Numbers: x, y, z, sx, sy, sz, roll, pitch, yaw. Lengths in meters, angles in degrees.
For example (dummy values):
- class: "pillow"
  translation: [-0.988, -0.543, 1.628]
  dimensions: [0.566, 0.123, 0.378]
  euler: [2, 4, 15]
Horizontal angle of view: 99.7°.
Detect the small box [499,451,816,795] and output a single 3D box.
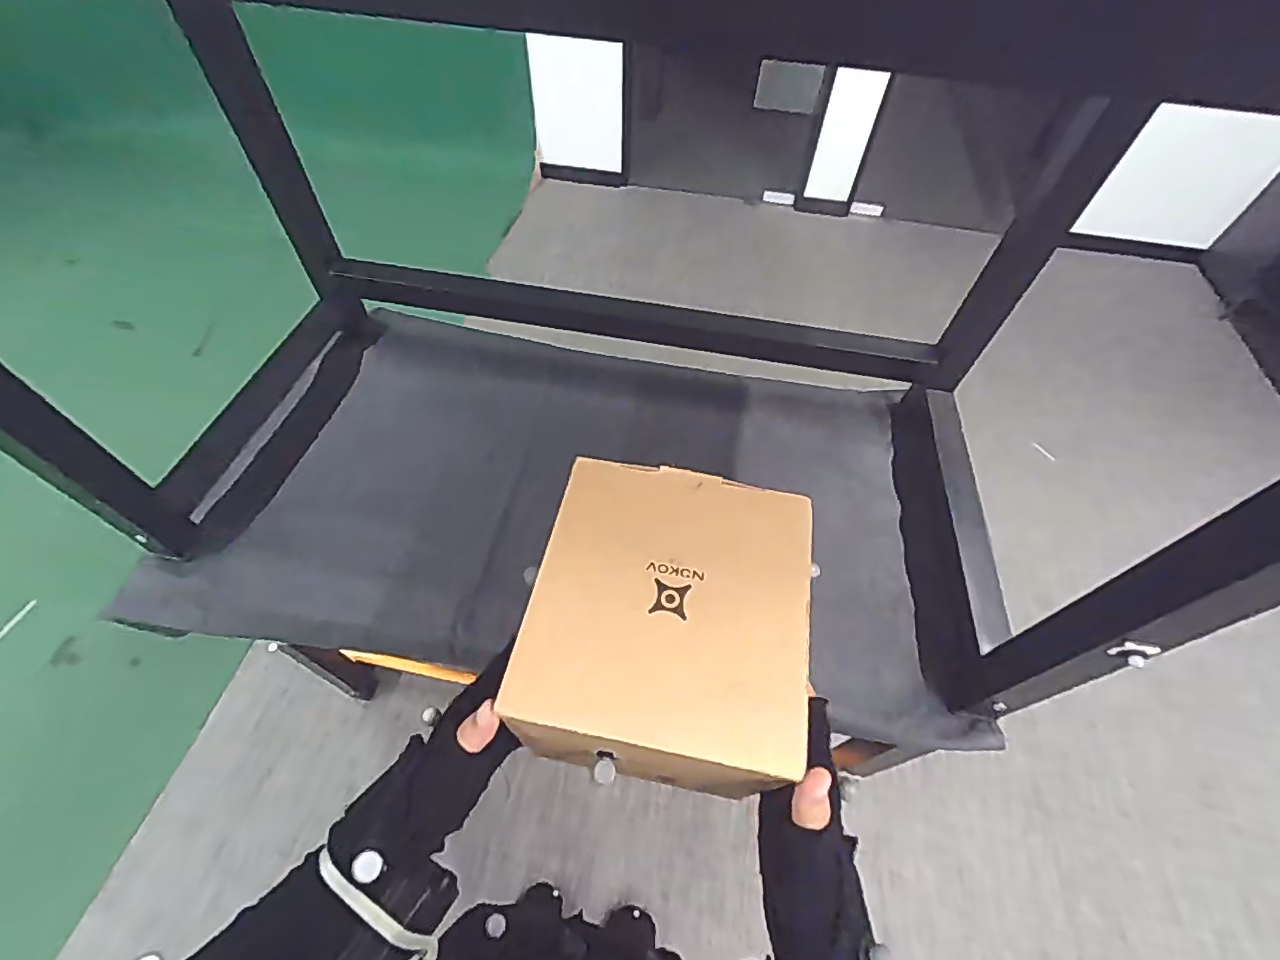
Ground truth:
- class: "small box"
  translation: [0.020, 0.108, 0.387]
  dimensions: [0.168, 0.176, 0.179]
  euler: [10, 55, 5]
